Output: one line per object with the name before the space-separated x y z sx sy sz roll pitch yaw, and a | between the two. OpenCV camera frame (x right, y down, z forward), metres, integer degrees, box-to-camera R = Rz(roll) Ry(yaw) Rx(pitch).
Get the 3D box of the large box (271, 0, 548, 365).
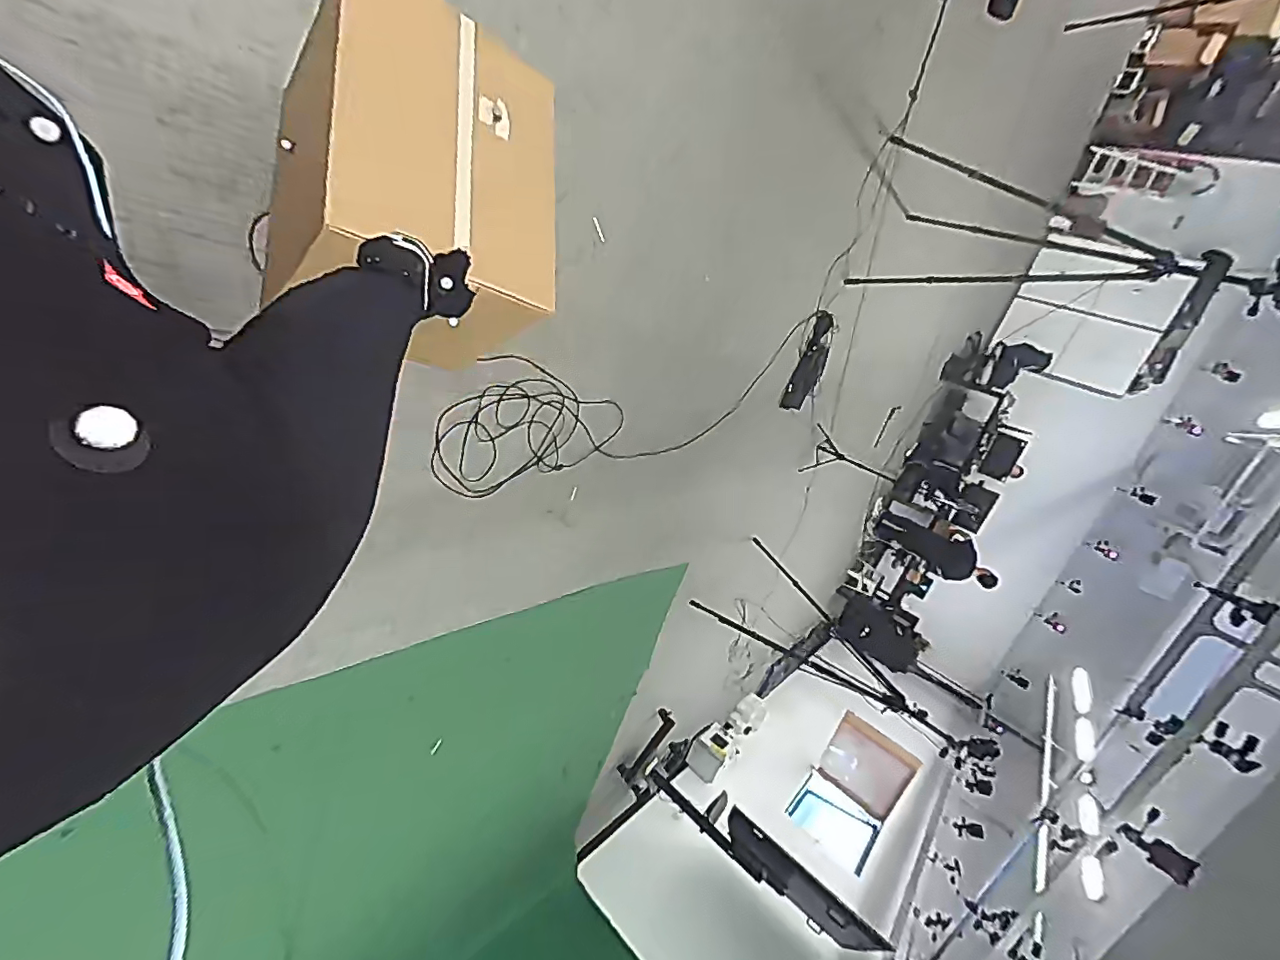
large box | -0.363 -0.441 0.854 0.320 0.320 0.408 8 76 -45
